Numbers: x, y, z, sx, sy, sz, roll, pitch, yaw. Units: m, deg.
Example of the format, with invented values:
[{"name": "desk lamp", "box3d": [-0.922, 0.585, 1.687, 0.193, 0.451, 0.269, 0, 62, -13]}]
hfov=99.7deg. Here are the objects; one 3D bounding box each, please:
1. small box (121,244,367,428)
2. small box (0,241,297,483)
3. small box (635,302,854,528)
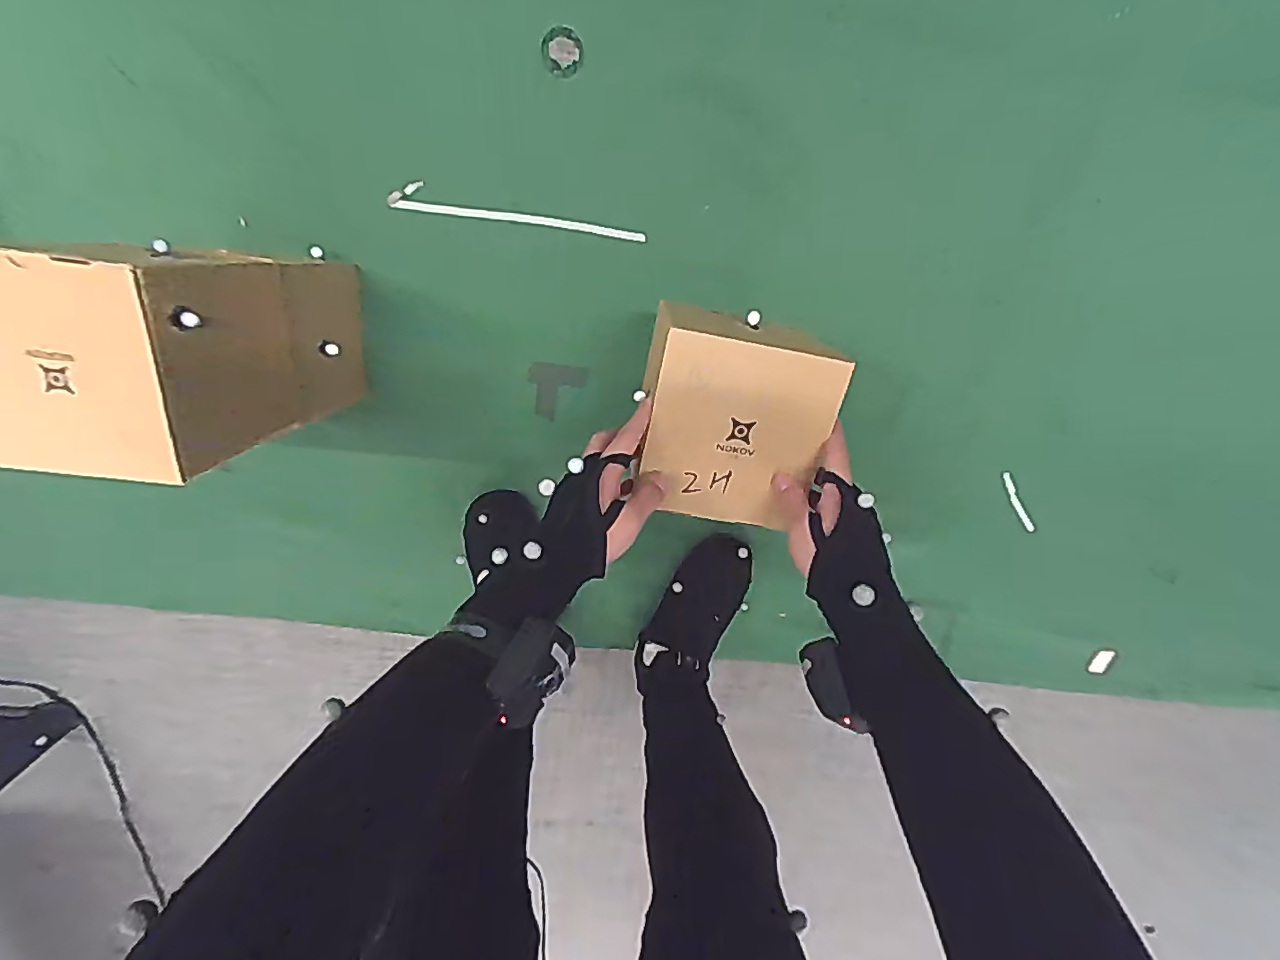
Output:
[{"name": "small box", "box3d": [-0.450, -0.176, 0.646, 0.168, 0.176, 0.179, 6, 113, -1]}, {"name": "small box", "box3d": [-0.449, -0.115, 0.497, 0.168, 0.176, 0.179, 6, 111, -1]}, {"name": "small box", "box3d": [0.089, -0.077, 0.565, 0.168, 0.176, 0.179, 10, 116, -5]}]
